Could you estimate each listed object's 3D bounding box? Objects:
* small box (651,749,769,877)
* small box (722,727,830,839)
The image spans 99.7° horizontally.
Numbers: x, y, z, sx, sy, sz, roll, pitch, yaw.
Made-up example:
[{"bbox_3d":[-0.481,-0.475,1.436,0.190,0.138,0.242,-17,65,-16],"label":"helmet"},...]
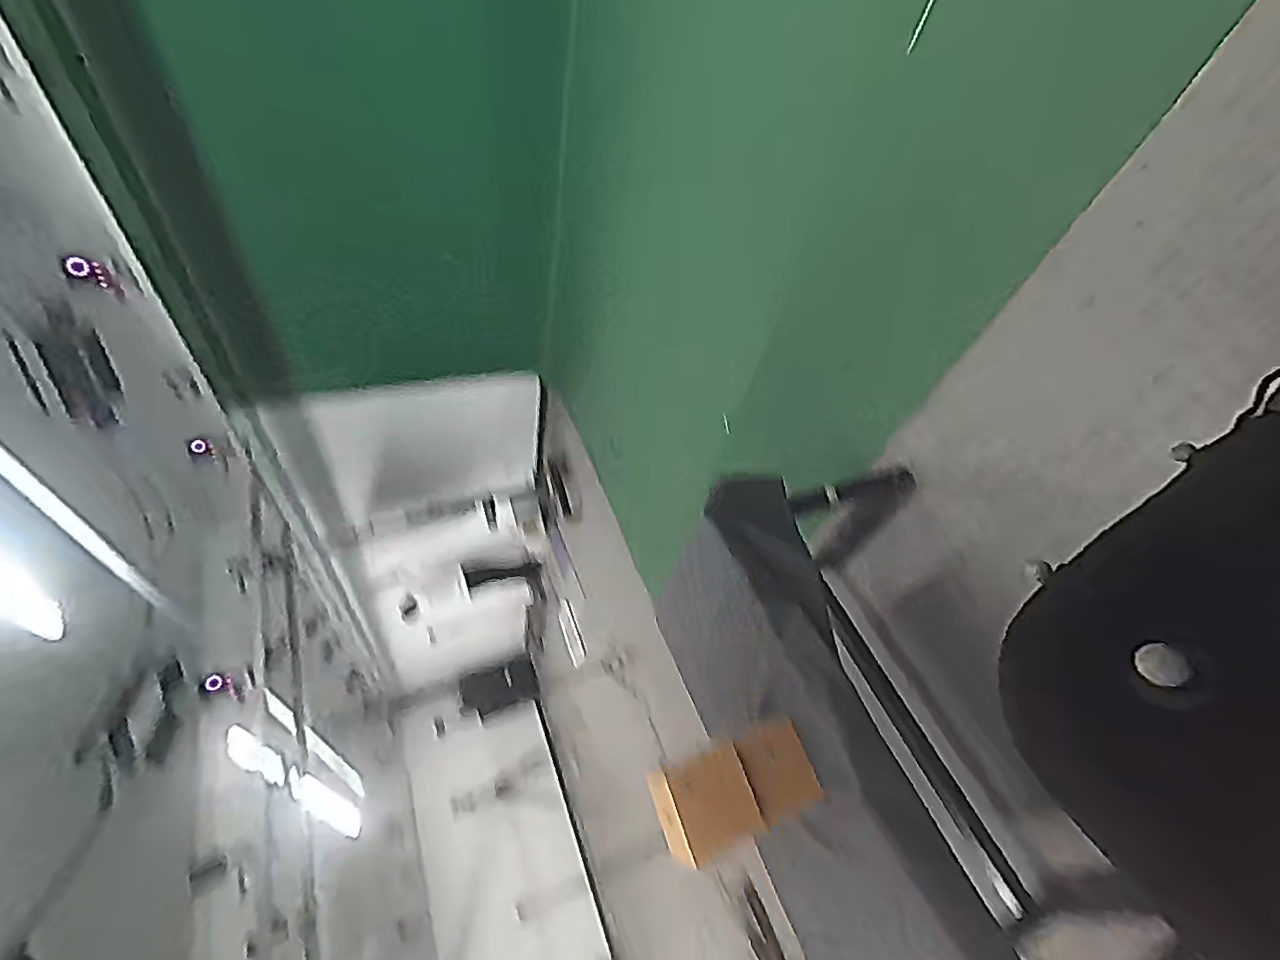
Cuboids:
[{"bbox_3d":[0.146,0.696,1.146,0.168,0.176,0.179,115,138,-57],"label":"small box"},{"bbox_3d":[0.290,0.677,1.222,0.168,0.176,0.179,113,139,-56],"label":"small box"}]
